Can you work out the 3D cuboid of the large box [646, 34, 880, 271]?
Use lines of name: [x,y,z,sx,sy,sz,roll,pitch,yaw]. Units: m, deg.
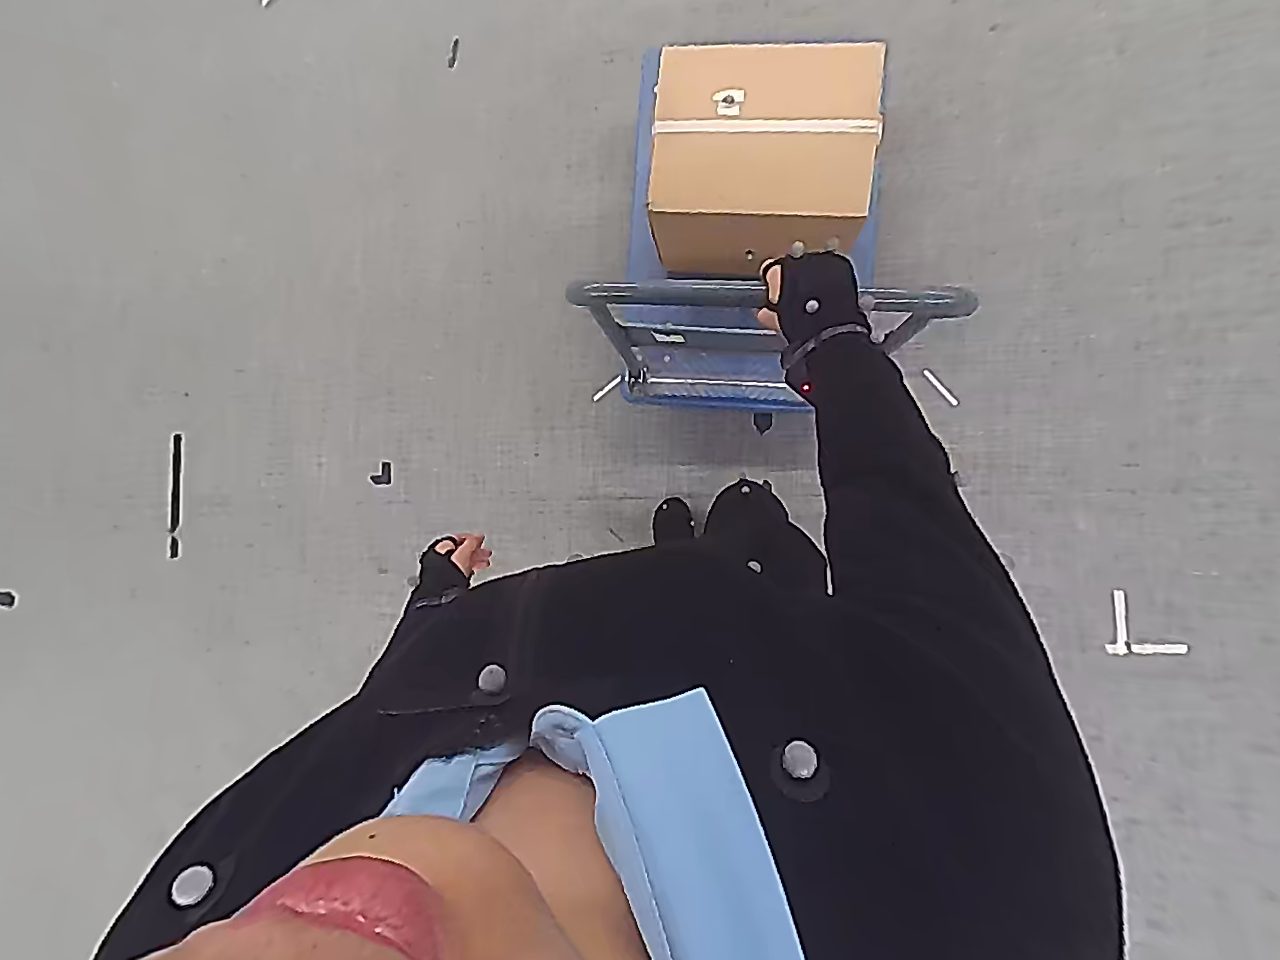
large box: [0.244,-0.644,1.127,0.408,0.320,0.320,5,90,10]
